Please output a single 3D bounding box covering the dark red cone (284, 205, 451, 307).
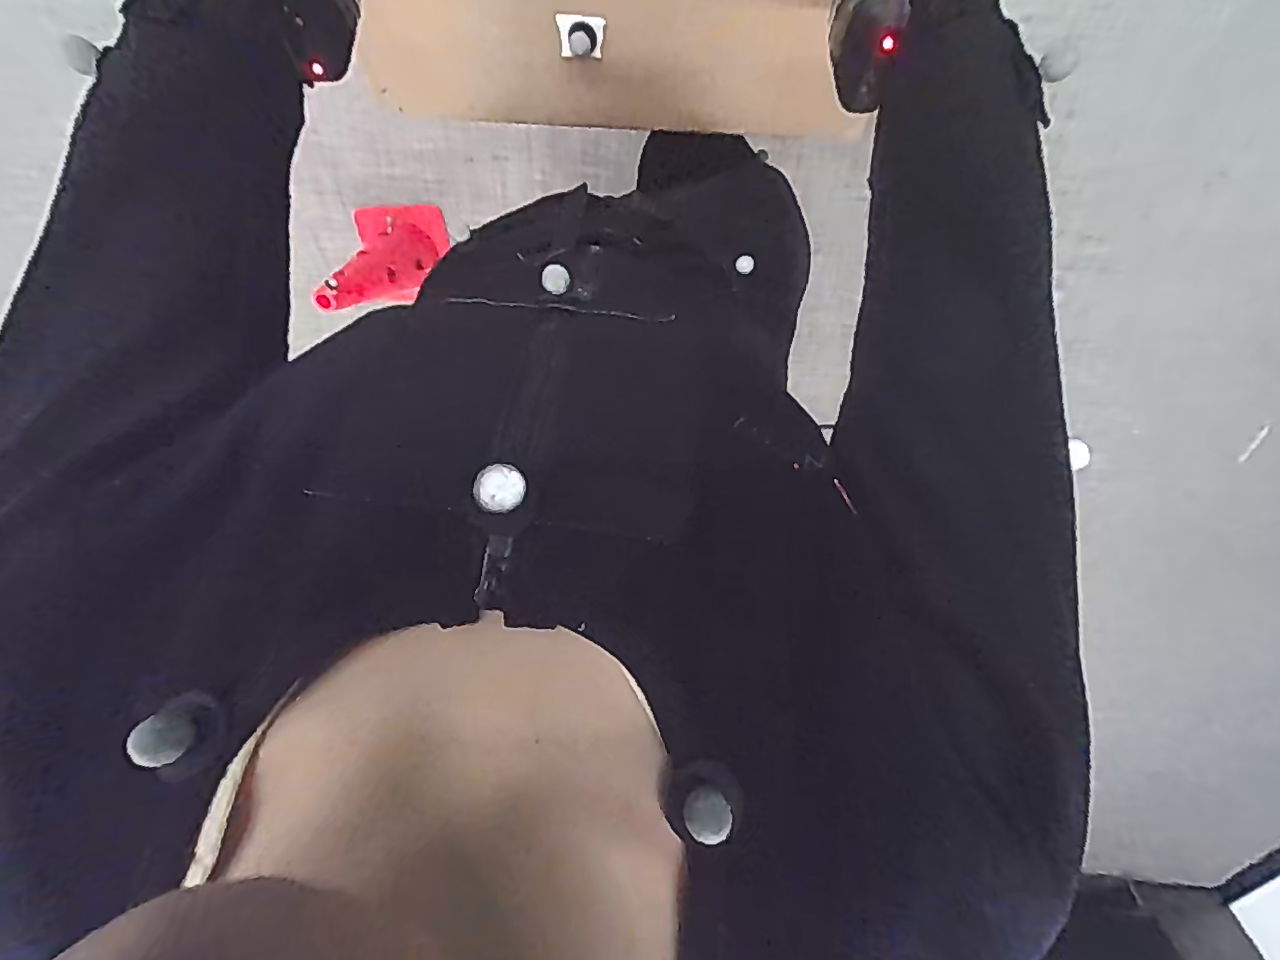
[{"bbox_3d":[-0.536,-0.397,1.037,0.202,0.394,0.201,-2,121,7],"label":"dark red cone"}]
